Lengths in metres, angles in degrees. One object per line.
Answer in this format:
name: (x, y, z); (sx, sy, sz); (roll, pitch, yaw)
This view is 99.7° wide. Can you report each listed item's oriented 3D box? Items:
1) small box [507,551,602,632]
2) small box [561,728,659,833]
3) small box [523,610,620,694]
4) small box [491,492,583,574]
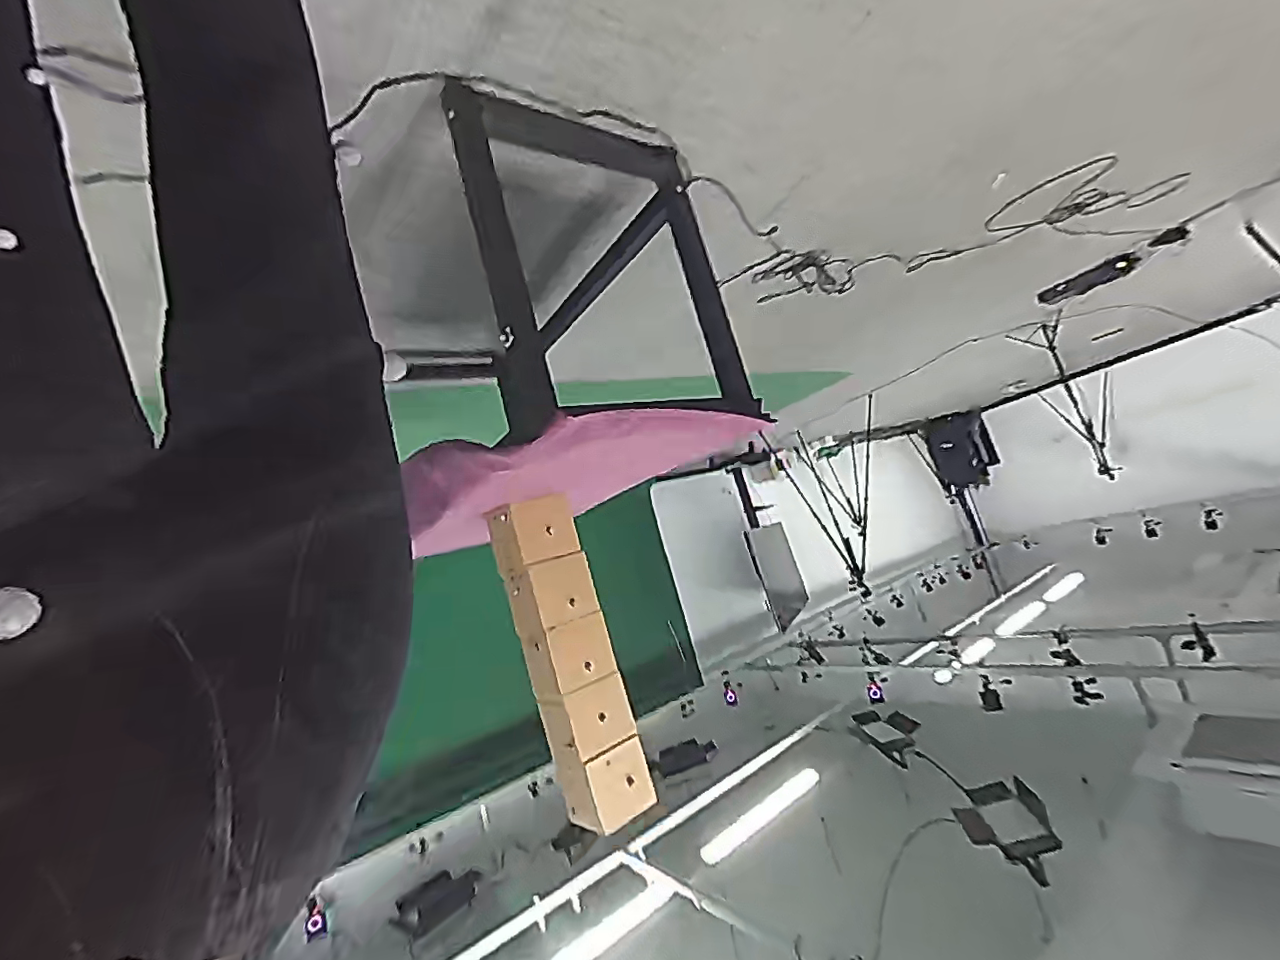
small box: (-0.233, 0.297, 1.453); (0.179, 0.176, 0.168); (-9, 169, -38)
small box: (-0.084, 0.758, 1.387); (0.168, 0.176, 0.179); (-12, 170, -38)
small box: (-0.184, 0.451, 1.433); (0.179, 0.176, 0.168); (-10, 169, -38)
small box: (-0.287, 0.143, 1.474); (0.179, 0.176, 0.168); (-10, 170, -39)
